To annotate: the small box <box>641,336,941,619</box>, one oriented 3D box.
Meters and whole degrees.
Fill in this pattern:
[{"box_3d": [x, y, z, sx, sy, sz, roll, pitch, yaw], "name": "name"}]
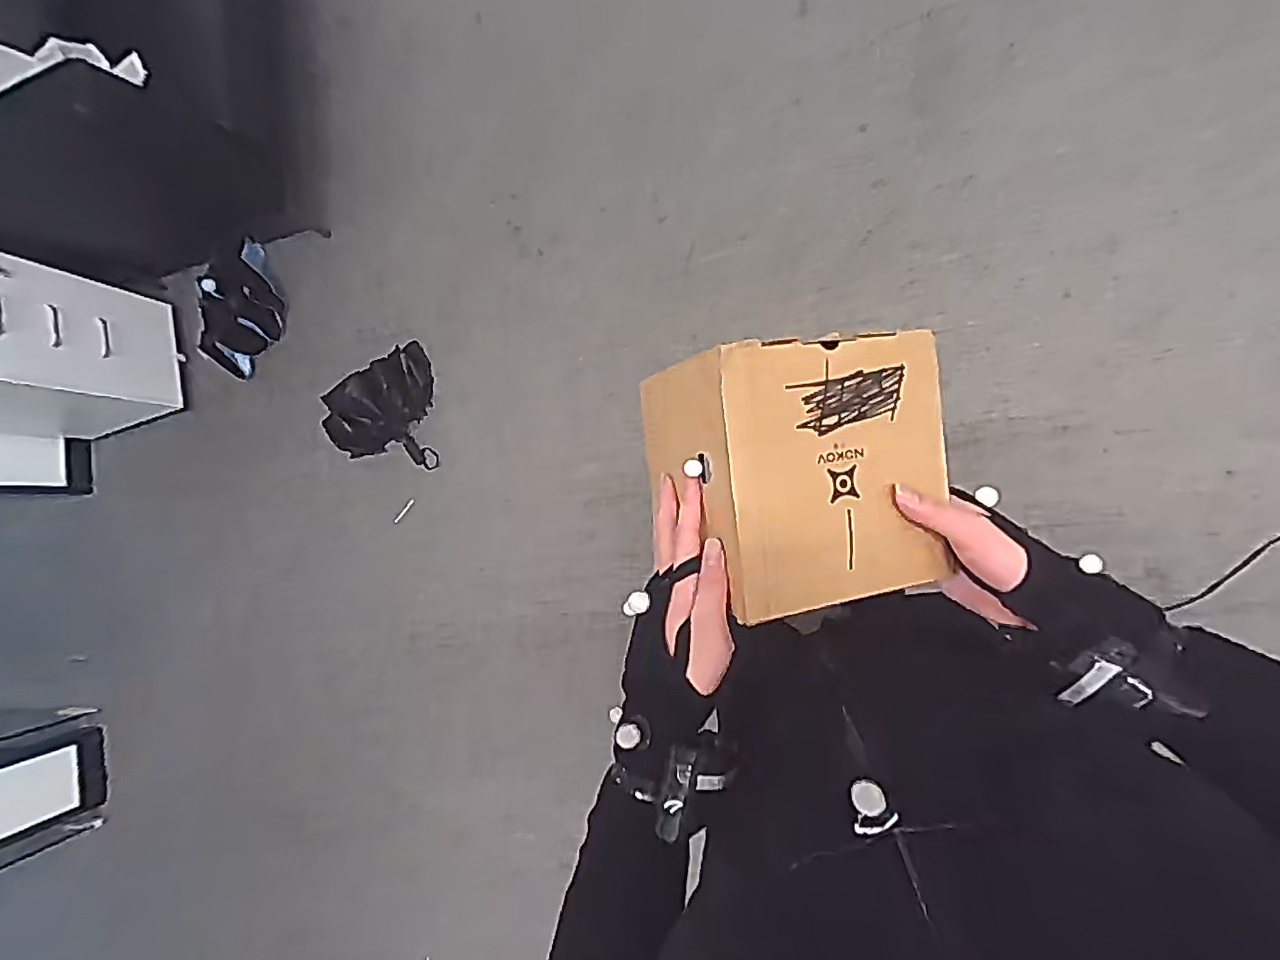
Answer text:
[{"box_3d": [0.107, -0.007, 0.440, 0.168, 0.176, 0.179, -9, 94, -15], "name": "small box"}]
